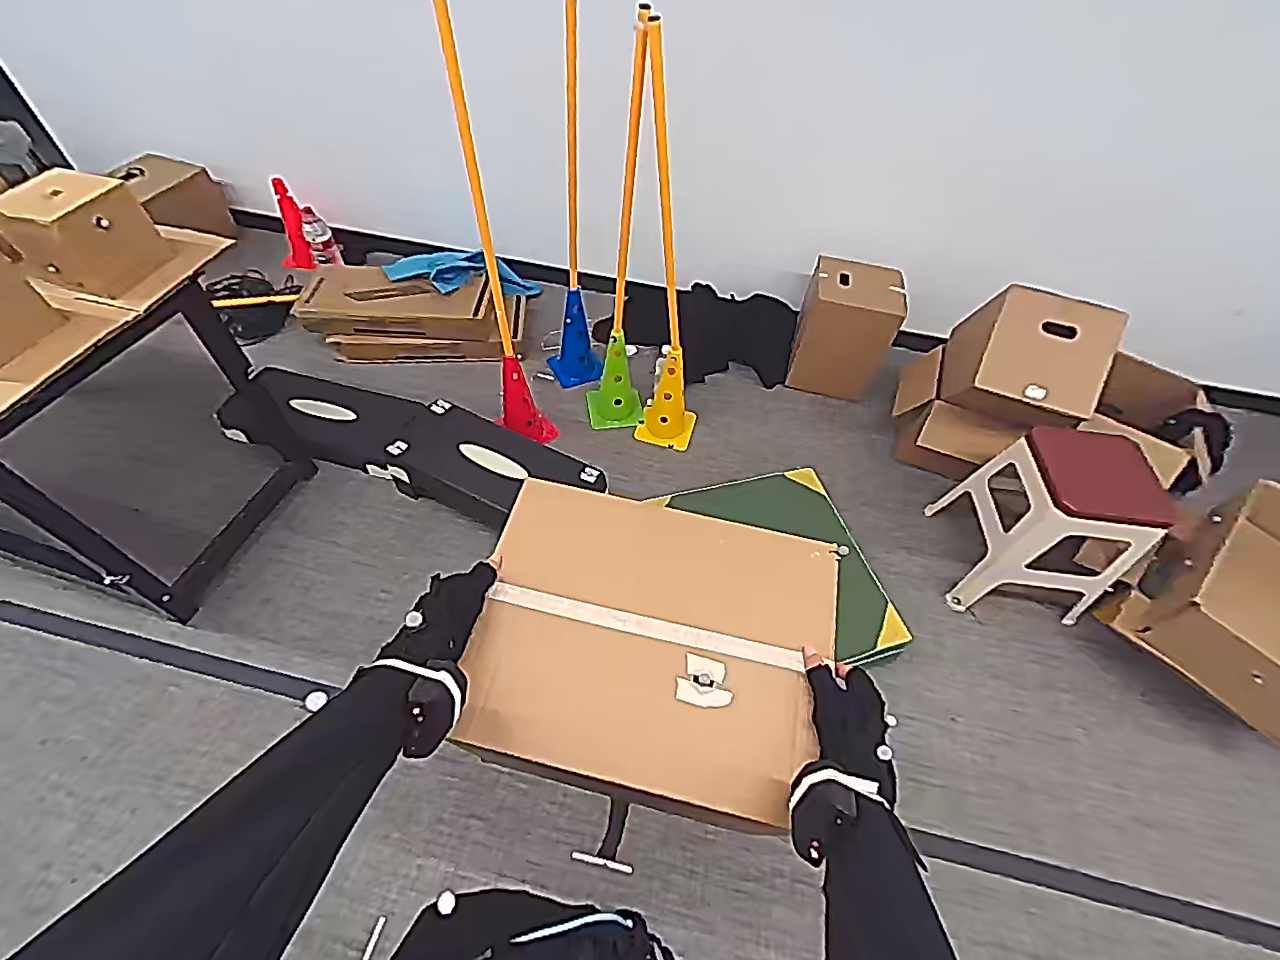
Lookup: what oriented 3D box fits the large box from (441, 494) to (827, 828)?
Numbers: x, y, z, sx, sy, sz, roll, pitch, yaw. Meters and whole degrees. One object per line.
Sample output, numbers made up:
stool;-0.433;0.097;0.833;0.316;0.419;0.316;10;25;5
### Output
large box;0.005;0.260;0.751;0.408;0.320;0.320;12;59;4
